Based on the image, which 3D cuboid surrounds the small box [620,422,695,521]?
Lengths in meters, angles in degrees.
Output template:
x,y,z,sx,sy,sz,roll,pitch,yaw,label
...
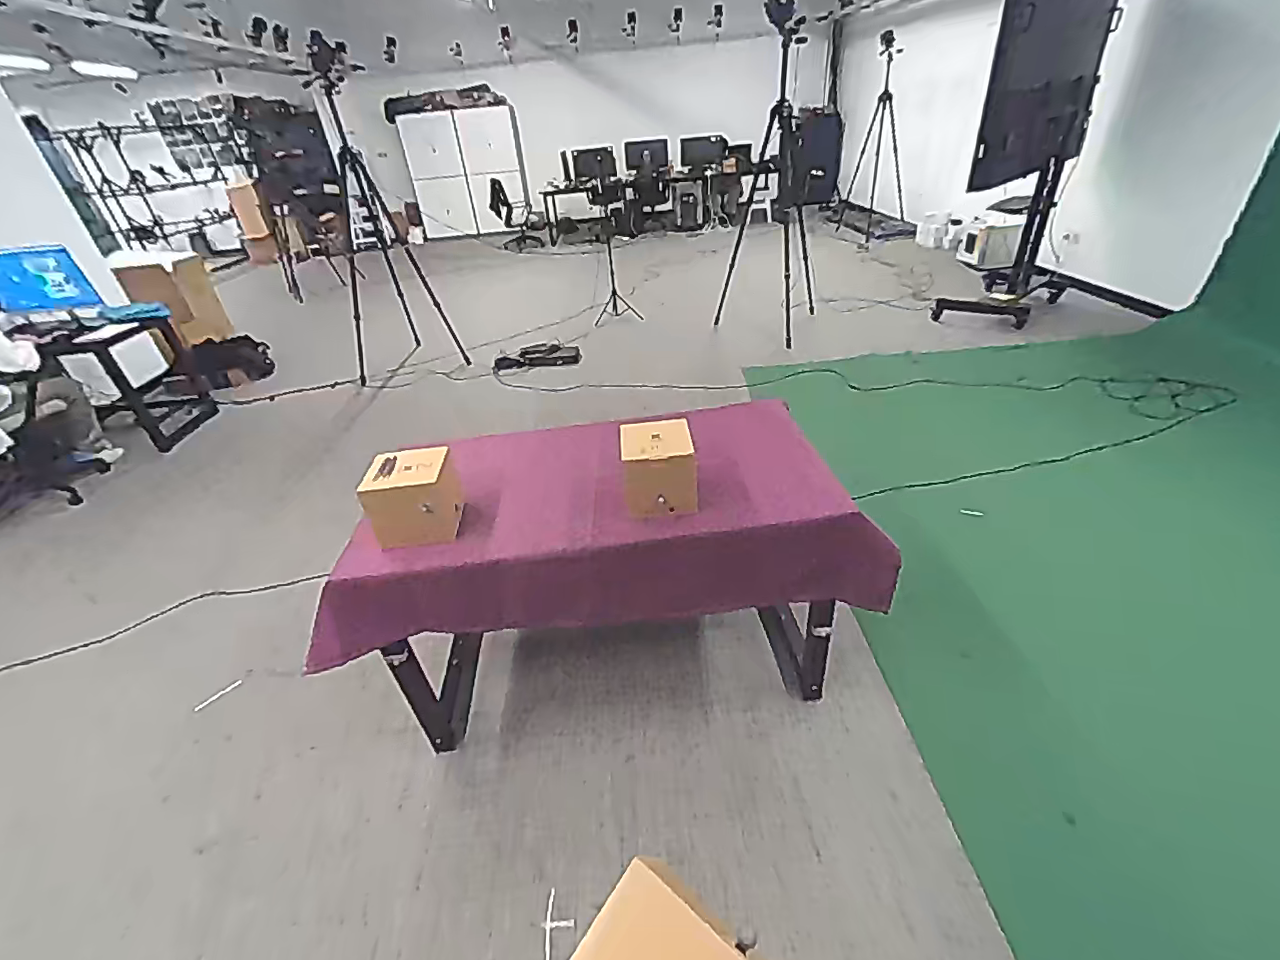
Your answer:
x,y,z,sx,sy,sz,roll,pitch,yaw,label
0.040,-0.022,1.305,0.168,0.176,0.179,-6,34,1,small box
